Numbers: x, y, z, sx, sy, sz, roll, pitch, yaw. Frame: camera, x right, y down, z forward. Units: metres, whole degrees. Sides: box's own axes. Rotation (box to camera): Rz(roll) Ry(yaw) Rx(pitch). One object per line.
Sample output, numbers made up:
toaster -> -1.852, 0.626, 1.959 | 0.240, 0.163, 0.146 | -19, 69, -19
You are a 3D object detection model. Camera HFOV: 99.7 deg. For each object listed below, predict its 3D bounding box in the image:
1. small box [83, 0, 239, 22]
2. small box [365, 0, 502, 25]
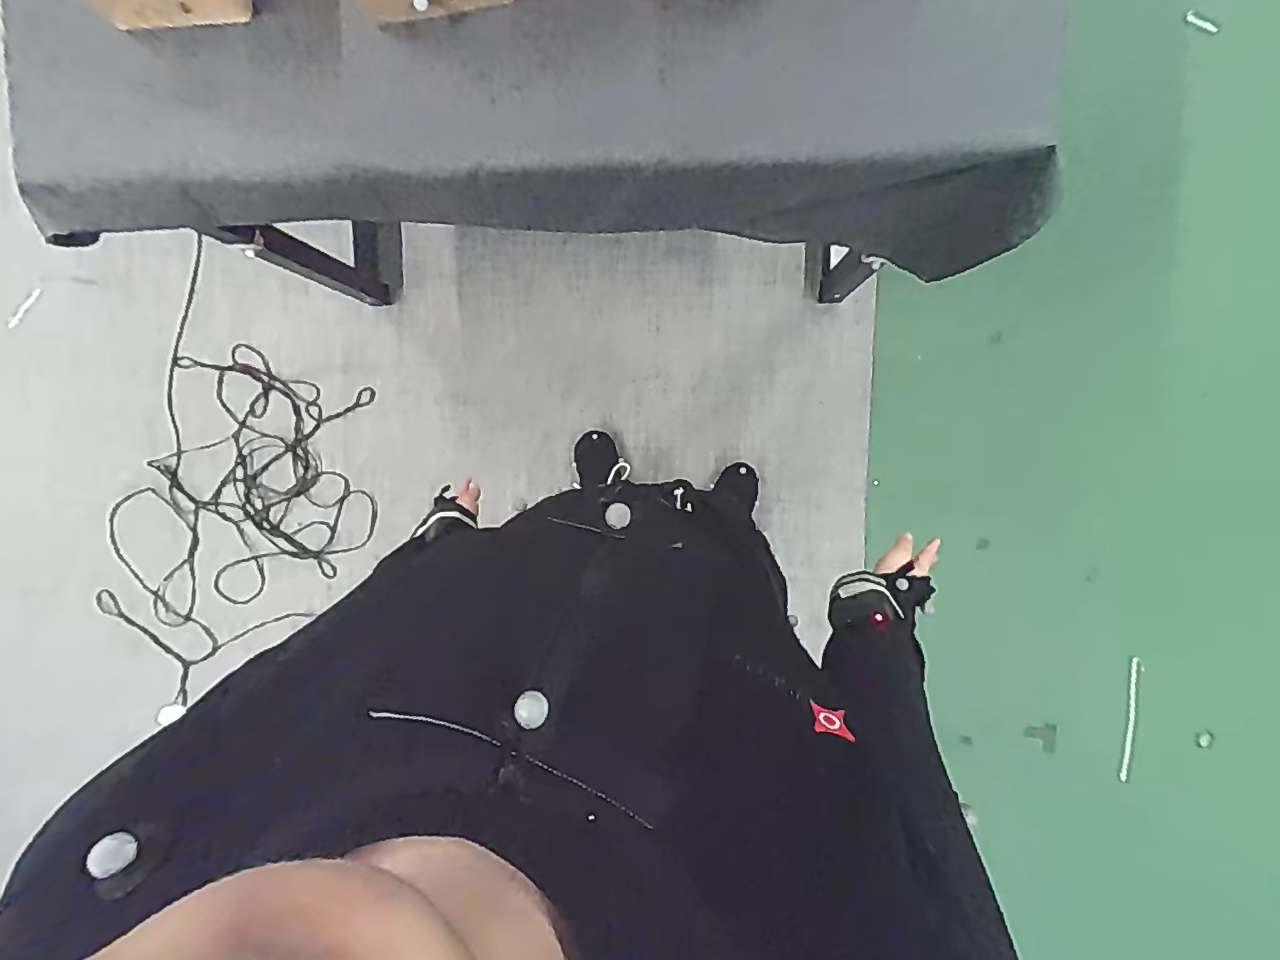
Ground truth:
small box -> -0.537, -0.601, 0.537 | 0.168, 0.176, 0.179 | -1, 93, 4
small box -> -0.238, -0.600, 0.518 | 0.168, 0.176, 0.179 | -7, 94, 6
